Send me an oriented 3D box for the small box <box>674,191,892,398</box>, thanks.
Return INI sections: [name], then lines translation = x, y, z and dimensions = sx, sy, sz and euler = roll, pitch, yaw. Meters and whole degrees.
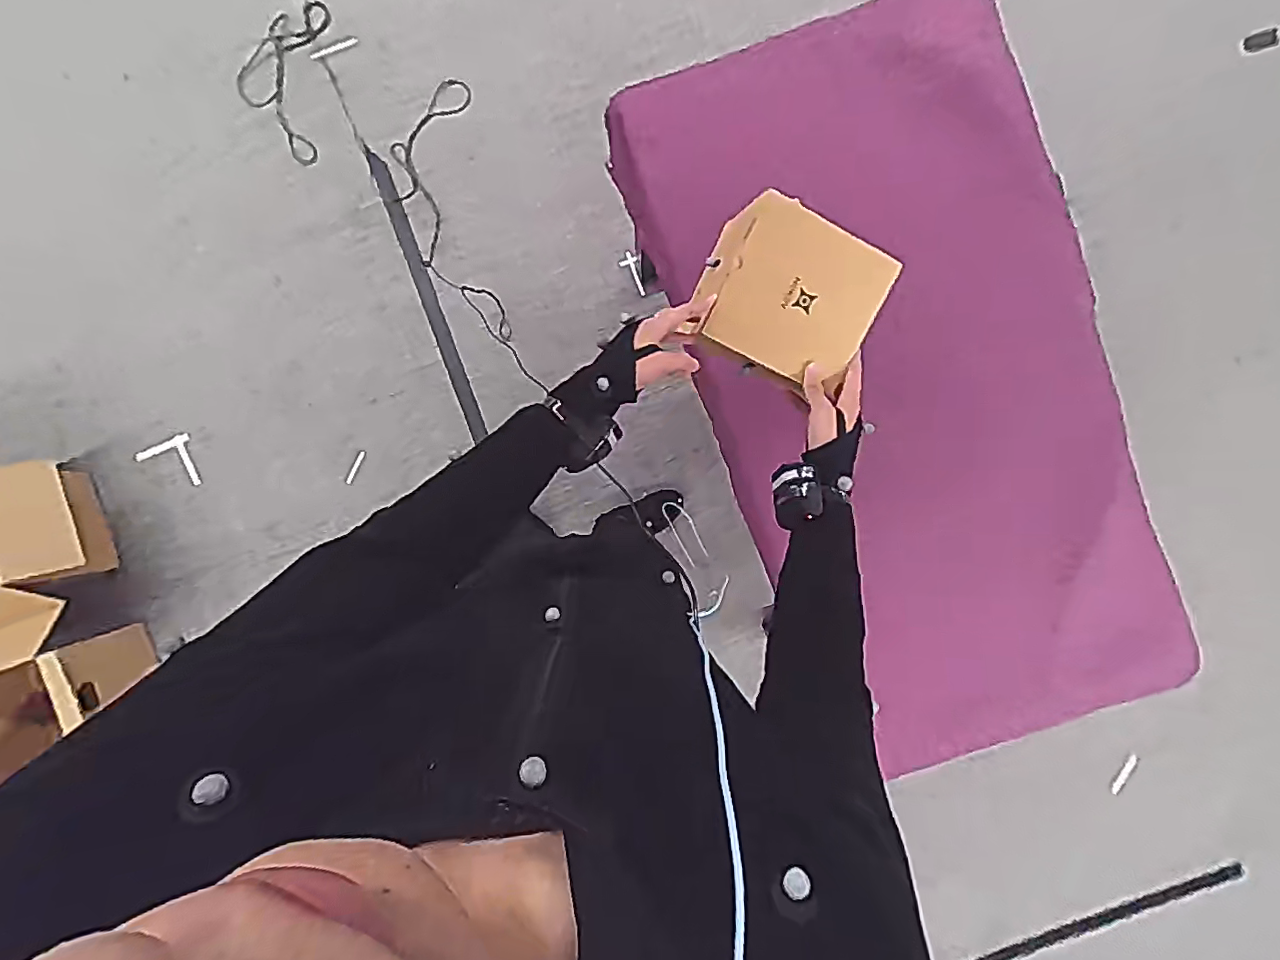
[small box]
translation = 0.160, -0.219, 0.669
dimensions = 0.179, 0.176, 0.168
euler = 23, 101, -10
